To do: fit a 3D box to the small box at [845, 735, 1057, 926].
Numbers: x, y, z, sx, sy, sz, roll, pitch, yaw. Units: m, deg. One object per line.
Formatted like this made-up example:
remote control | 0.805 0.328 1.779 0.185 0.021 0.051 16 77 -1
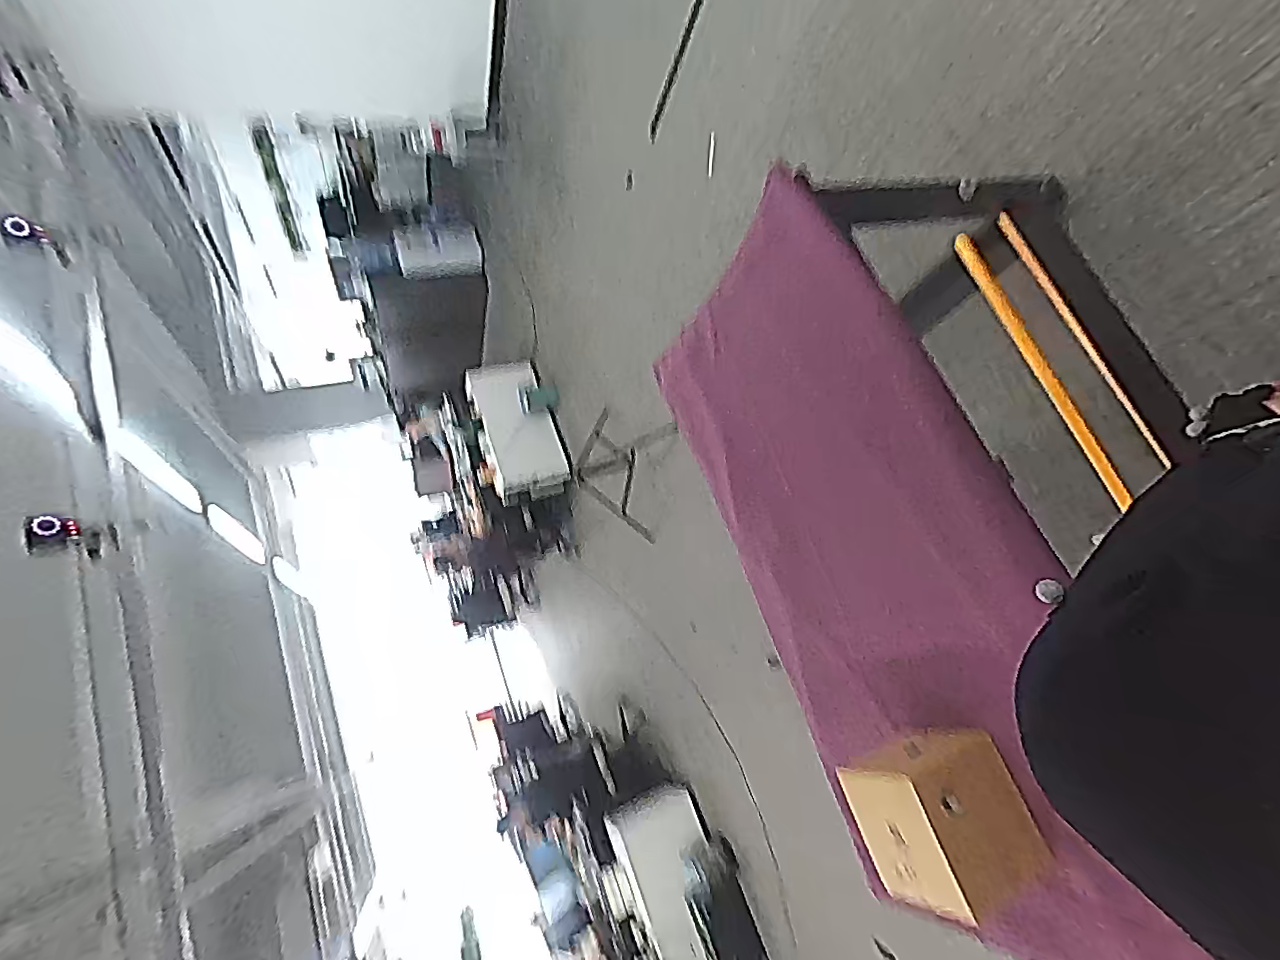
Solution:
small box | 0.448 0.491 0.794 0.179 0.176 0.168 69 156 18
